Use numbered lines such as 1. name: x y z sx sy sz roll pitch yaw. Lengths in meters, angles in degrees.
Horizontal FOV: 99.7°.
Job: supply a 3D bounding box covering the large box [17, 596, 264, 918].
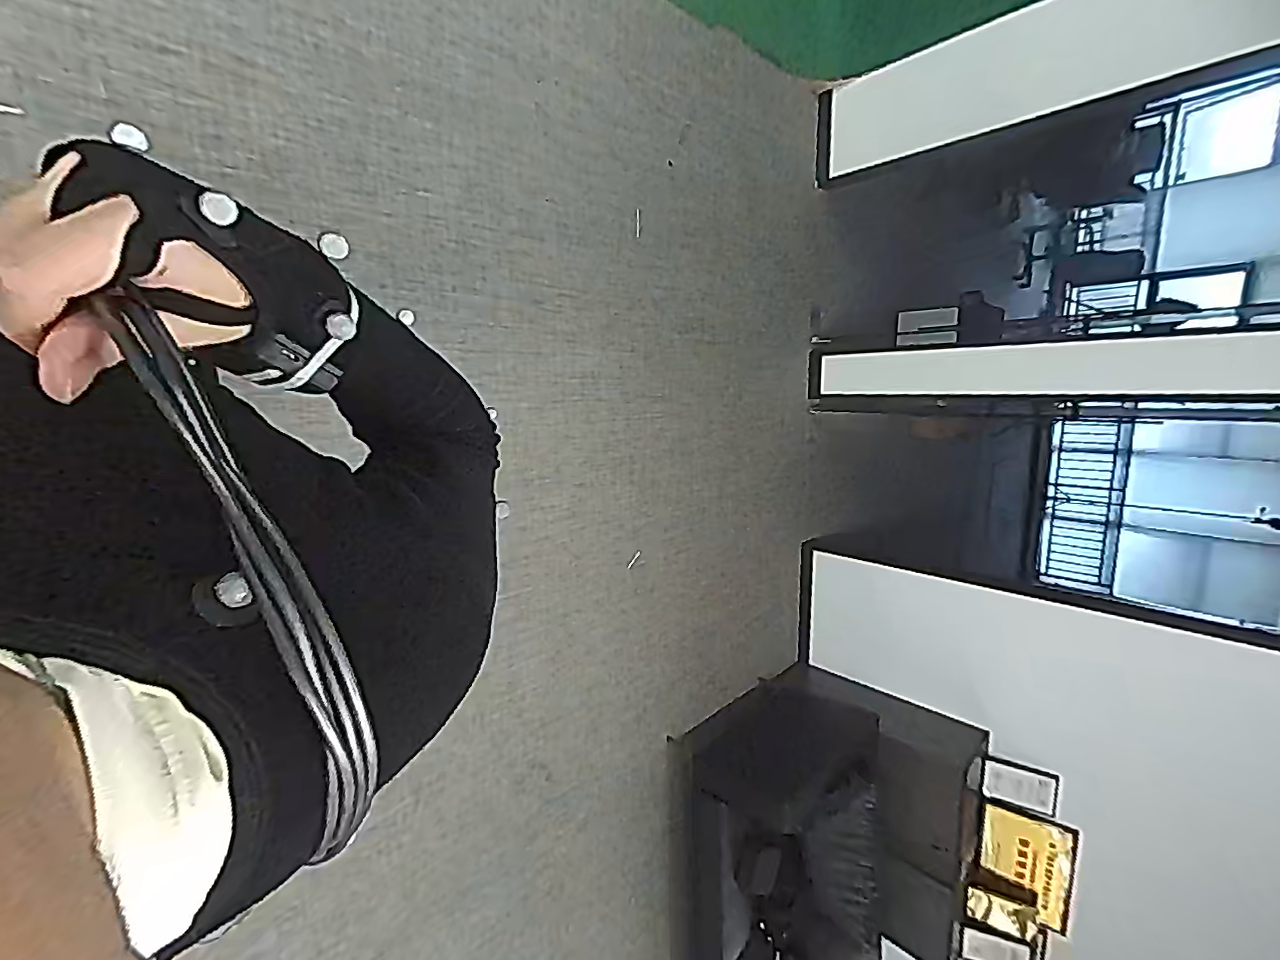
1. large box: -0.950 0.476 1.042 0.320 0.320 0.408 2 95 -45
